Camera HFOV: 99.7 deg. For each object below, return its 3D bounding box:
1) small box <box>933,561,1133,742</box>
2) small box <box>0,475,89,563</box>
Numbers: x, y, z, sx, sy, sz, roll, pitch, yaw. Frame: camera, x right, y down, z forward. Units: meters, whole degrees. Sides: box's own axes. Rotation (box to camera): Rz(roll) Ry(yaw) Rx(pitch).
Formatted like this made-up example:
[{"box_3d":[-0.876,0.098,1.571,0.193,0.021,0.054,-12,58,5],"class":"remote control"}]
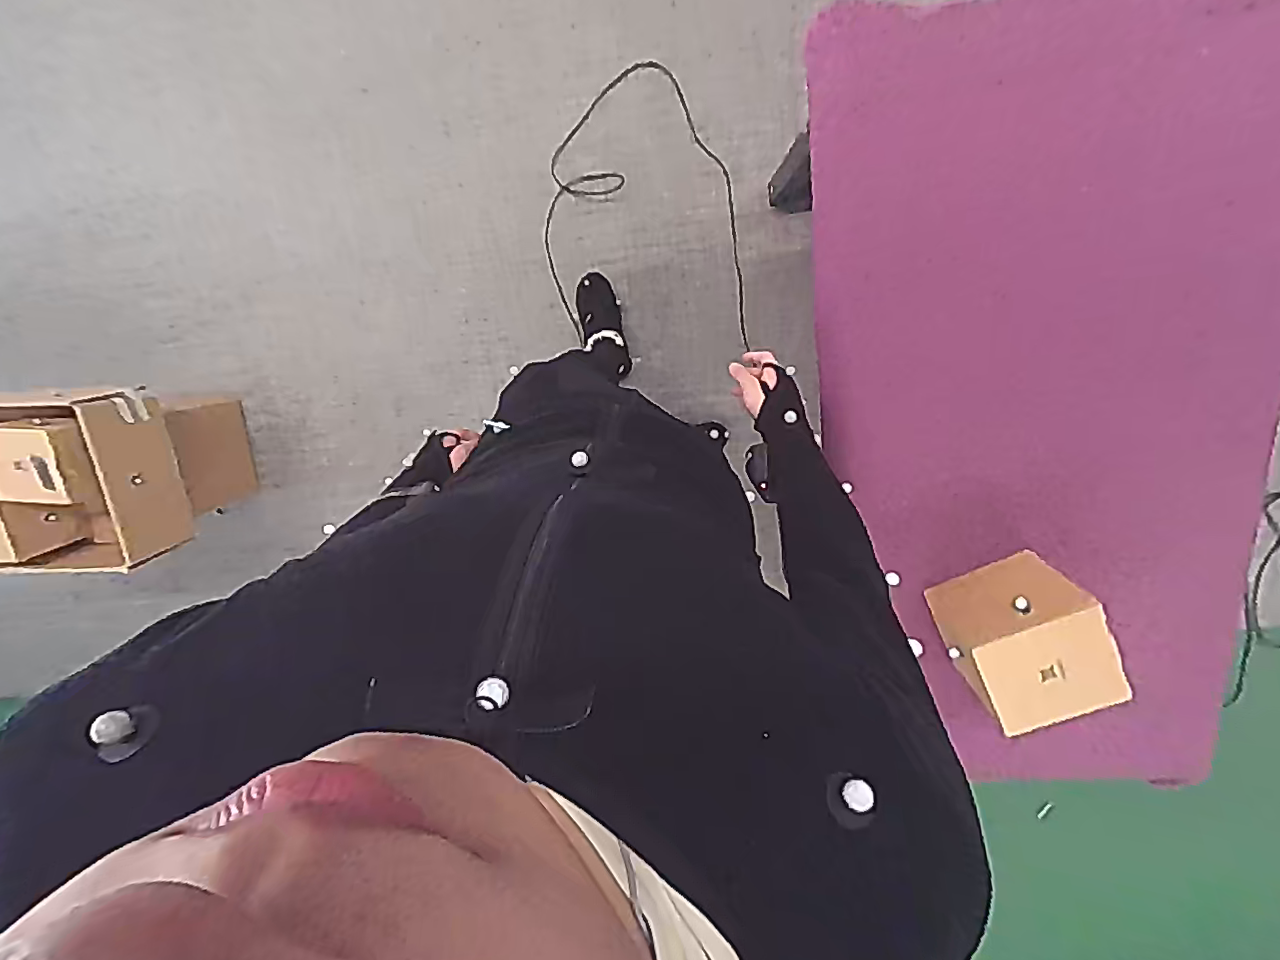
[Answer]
[{"box_3d":[0.578,0.252,0.824,0.179,0.176,0.168,-26,103,12],"class":"small box"},{"box_3d":[-1.476,0.086,1.284,0.179,0.176,0.168,0,106,5],"class":"small box"}]
